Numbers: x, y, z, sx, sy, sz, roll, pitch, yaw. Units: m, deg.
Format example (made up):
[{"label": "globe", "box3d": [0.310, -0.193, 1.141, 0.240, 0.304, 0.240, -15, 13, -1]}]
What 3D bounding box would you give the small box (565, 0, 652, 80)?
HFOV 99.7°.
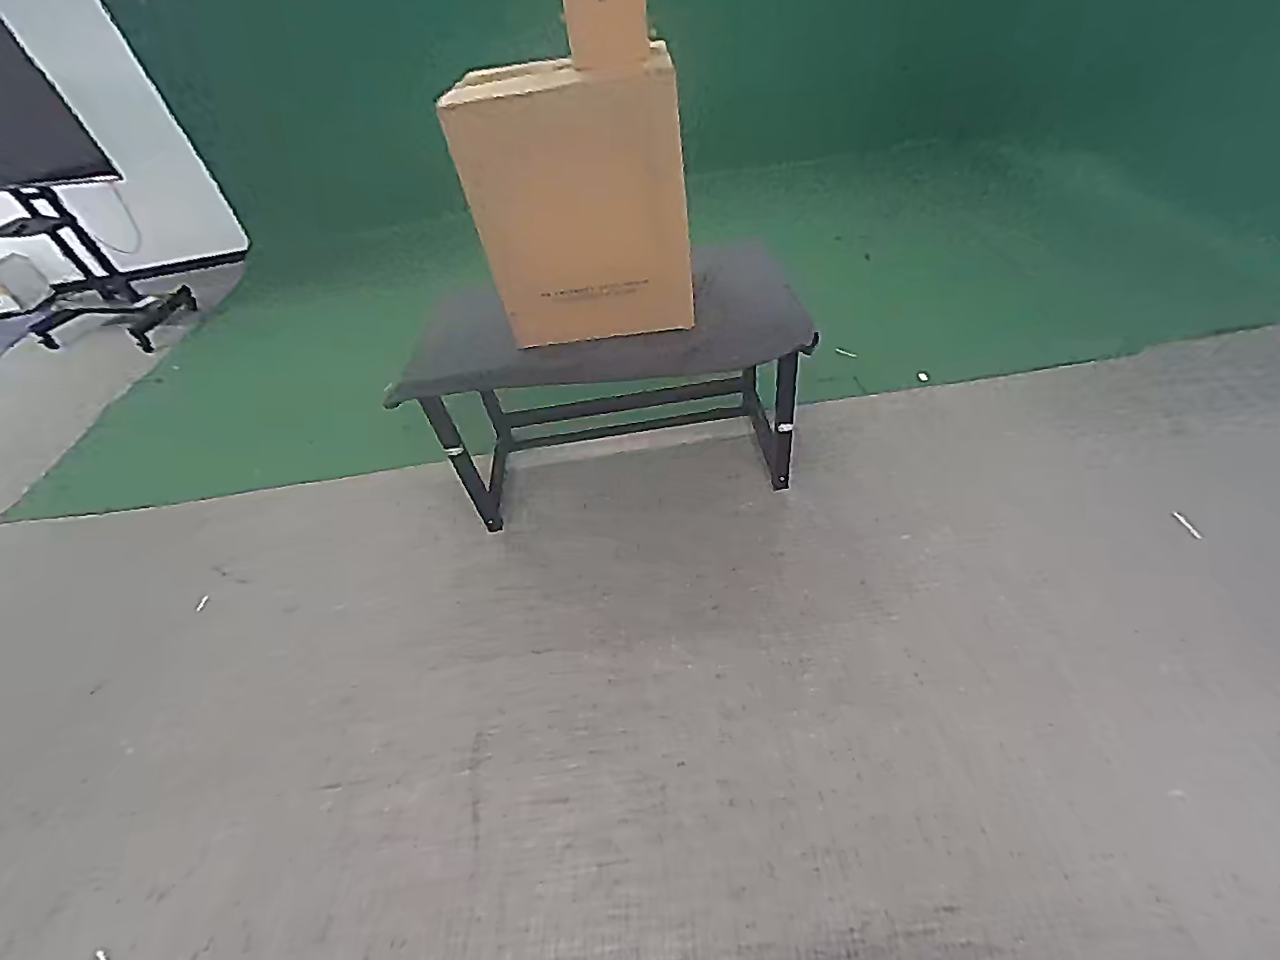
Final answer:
[{"label": "small box", "box3d": [-0.069, -1.033, 1.230, 0.179, 0.176, 0.168, -5, 48, 2]}]
